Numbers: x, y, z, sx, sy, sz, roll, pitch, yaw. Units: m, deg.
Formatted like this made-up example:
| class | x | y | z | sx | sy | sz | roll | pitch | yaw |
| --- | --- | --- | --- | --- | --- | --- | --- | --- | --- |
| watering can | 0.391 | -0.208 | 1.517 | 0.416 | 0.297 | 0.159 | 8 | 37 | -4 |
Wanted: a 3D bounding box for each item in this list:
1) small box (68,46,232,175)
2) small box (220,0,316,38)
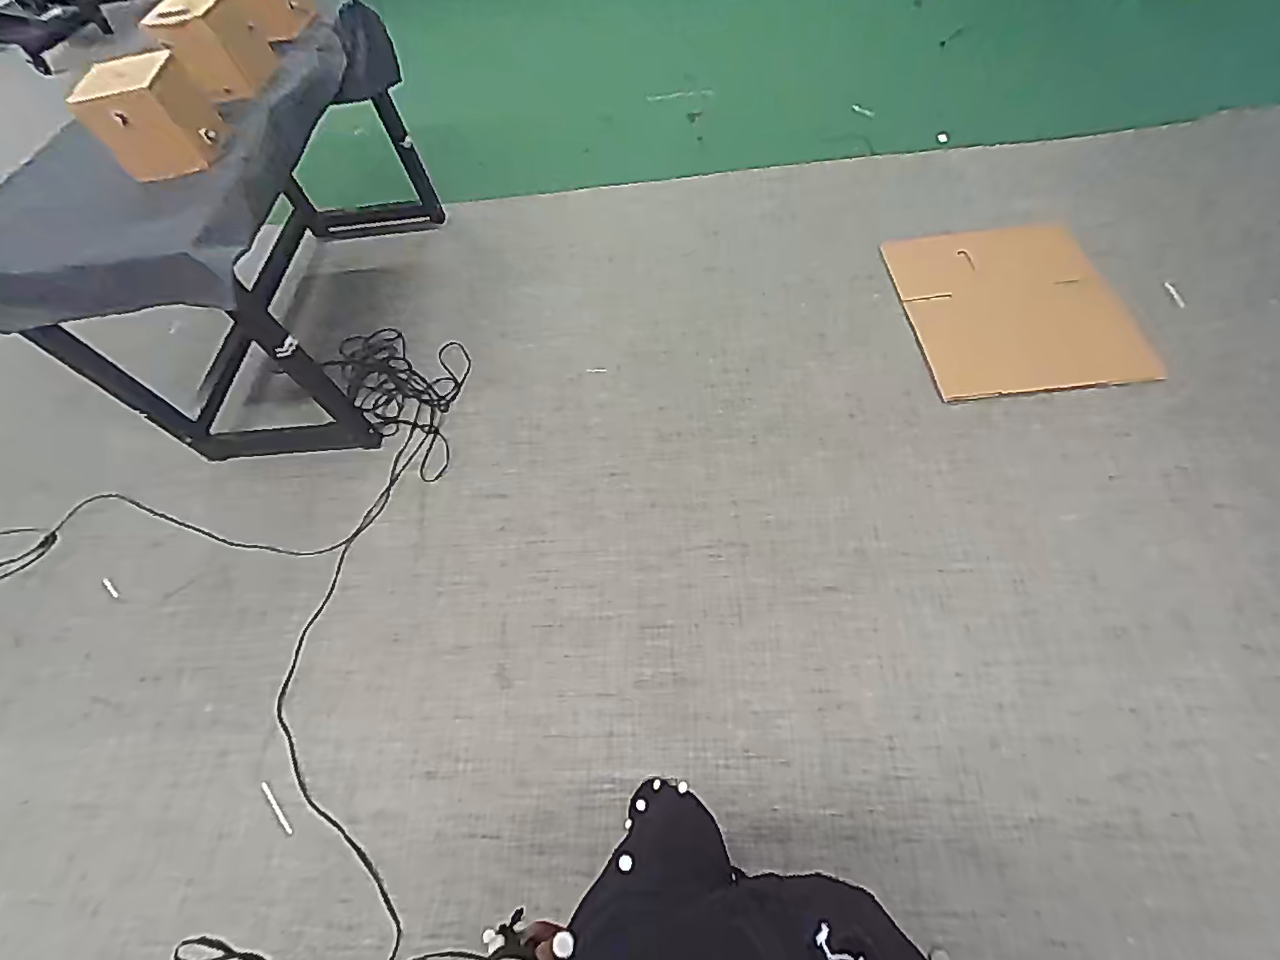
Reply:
| class | x | y | z | sx | sy | sz | roll | pitch | yaw |
| --- | --- | --- | --- | --- | --- | --- | --- | --- | --- |
| small box | -1.044 | -0.791 | 1.169 | 0.179 | 0.176 | 0.168 | -10 | 61 | 1 |
| small box | -1.048 | -1.357 | 1.491 | 0.179 | 0.176 | 0.168 | 0 | 61 | 8 |
